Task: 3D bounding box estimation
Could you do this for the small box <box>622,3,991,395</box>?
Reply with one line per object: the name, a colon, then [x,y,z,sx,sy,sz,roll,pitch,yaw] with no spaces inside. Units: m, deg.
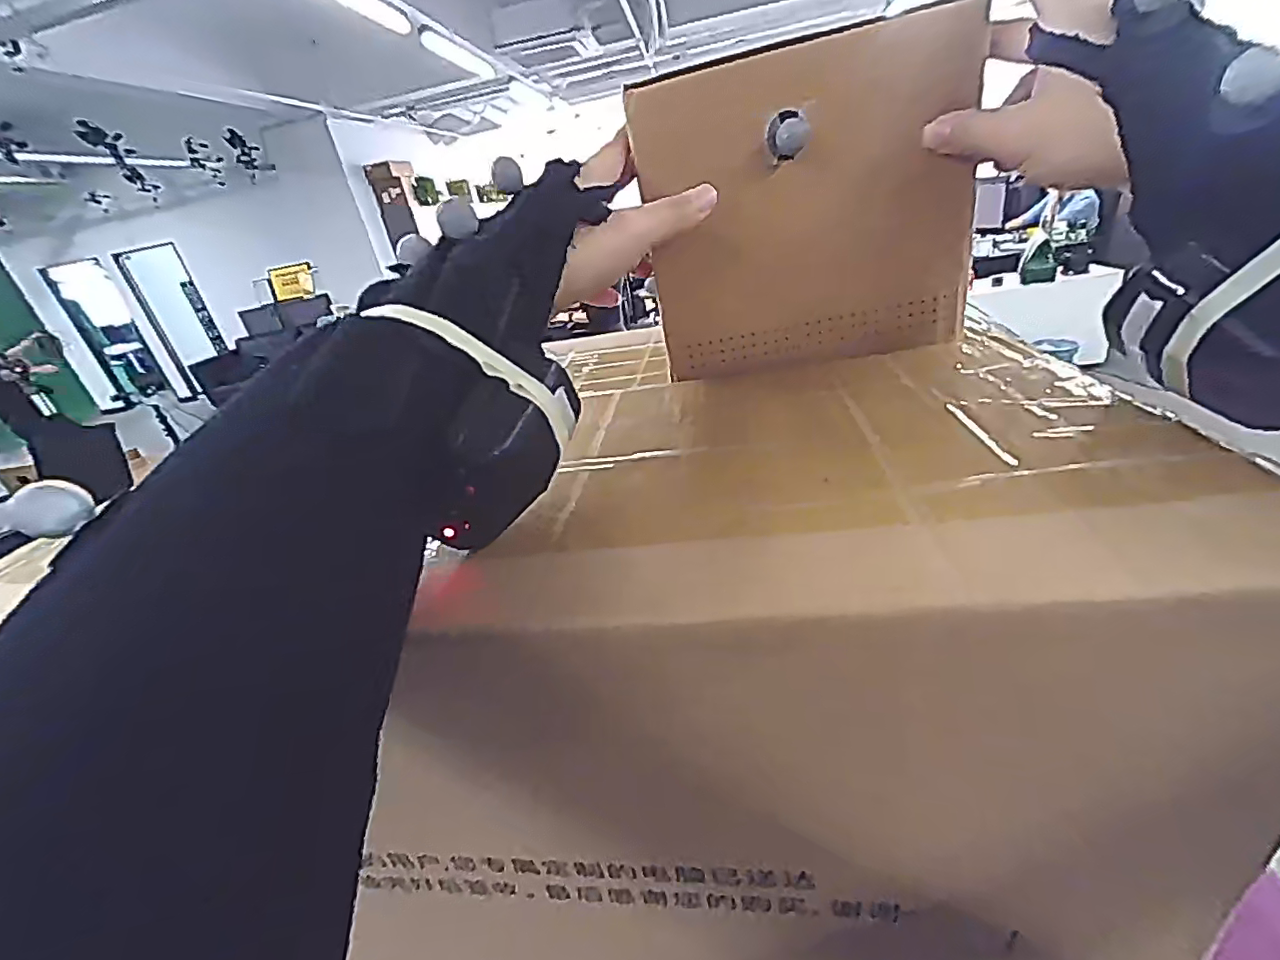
small box: [0.096,-0.173,0.363,0.179,0.176,0.168,-9,29,8]
